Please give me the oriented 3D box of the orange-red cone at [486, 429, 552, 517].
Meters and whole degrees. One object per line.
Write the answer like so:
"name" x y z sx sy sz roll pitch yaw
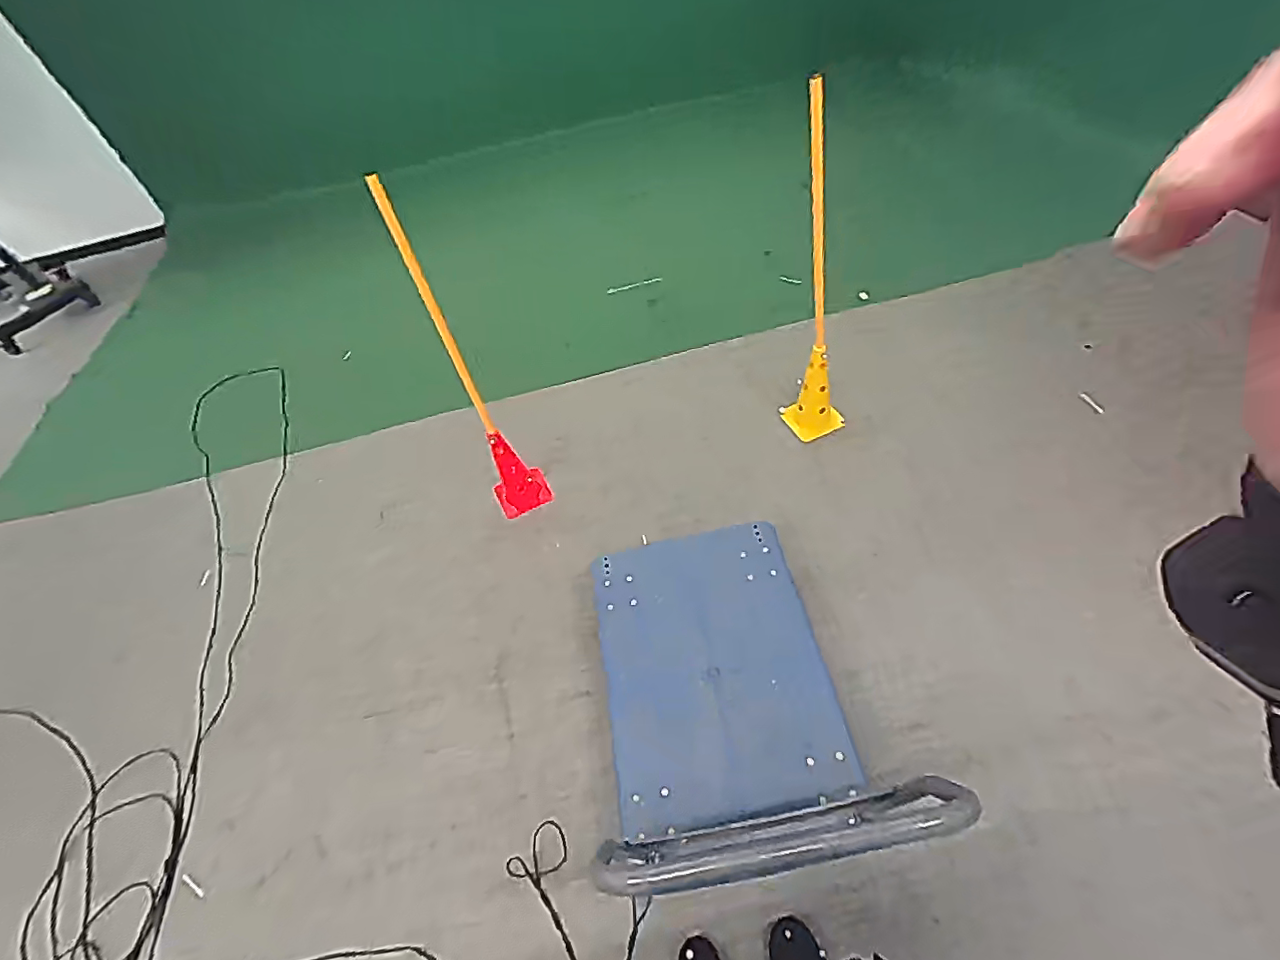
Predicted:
"orange-red cone" -0.489 -0.056 2.010 0.199 0.360 0.198 -27 51 -9
